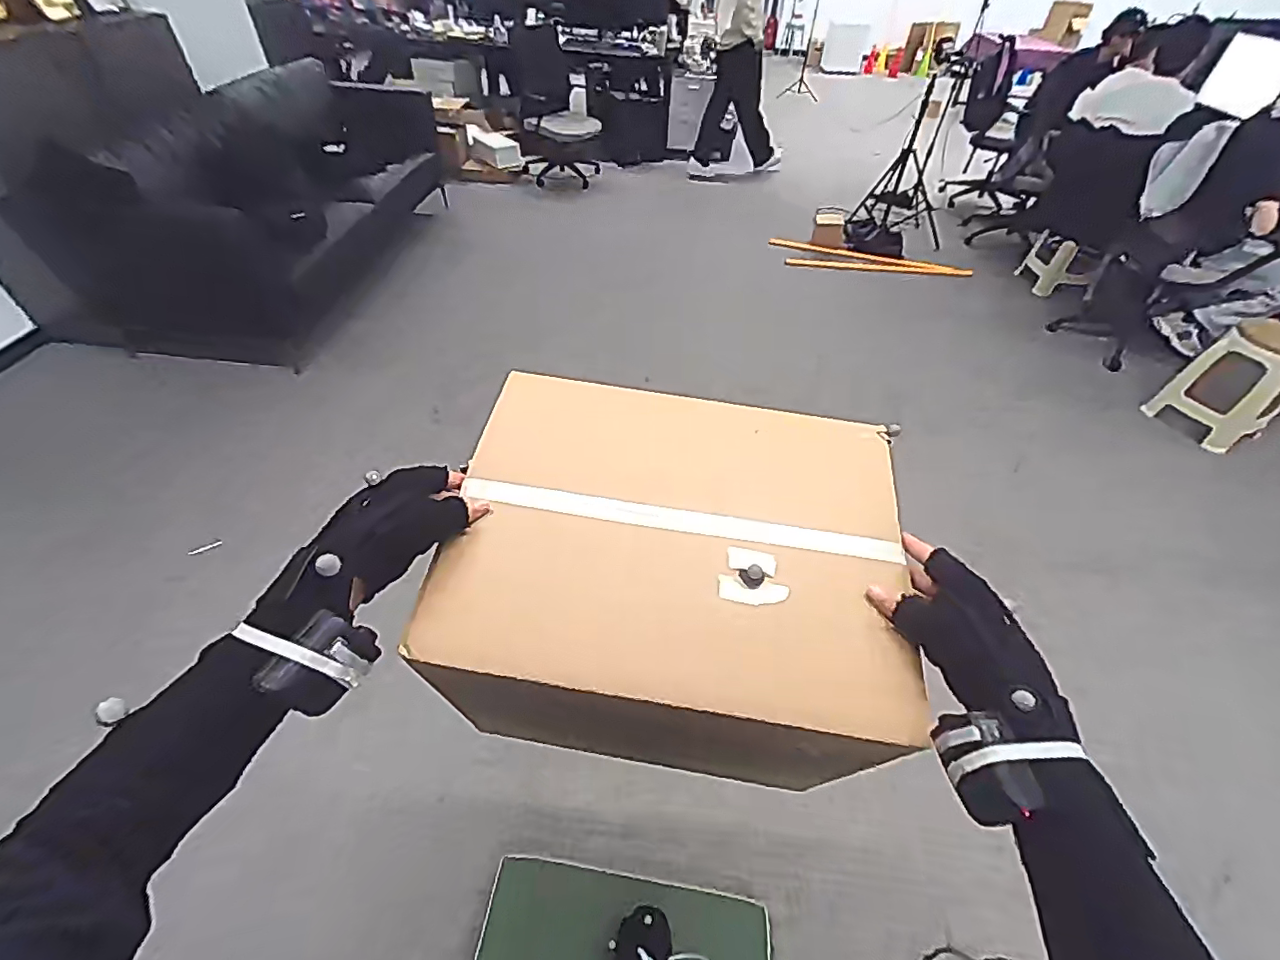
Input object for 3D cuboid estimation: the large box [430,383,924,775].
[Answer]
[{"bbox_3d":[0.035,0.126,0.629,0.408,0.320,0.320,9,56,2],"label":"large box"}]
